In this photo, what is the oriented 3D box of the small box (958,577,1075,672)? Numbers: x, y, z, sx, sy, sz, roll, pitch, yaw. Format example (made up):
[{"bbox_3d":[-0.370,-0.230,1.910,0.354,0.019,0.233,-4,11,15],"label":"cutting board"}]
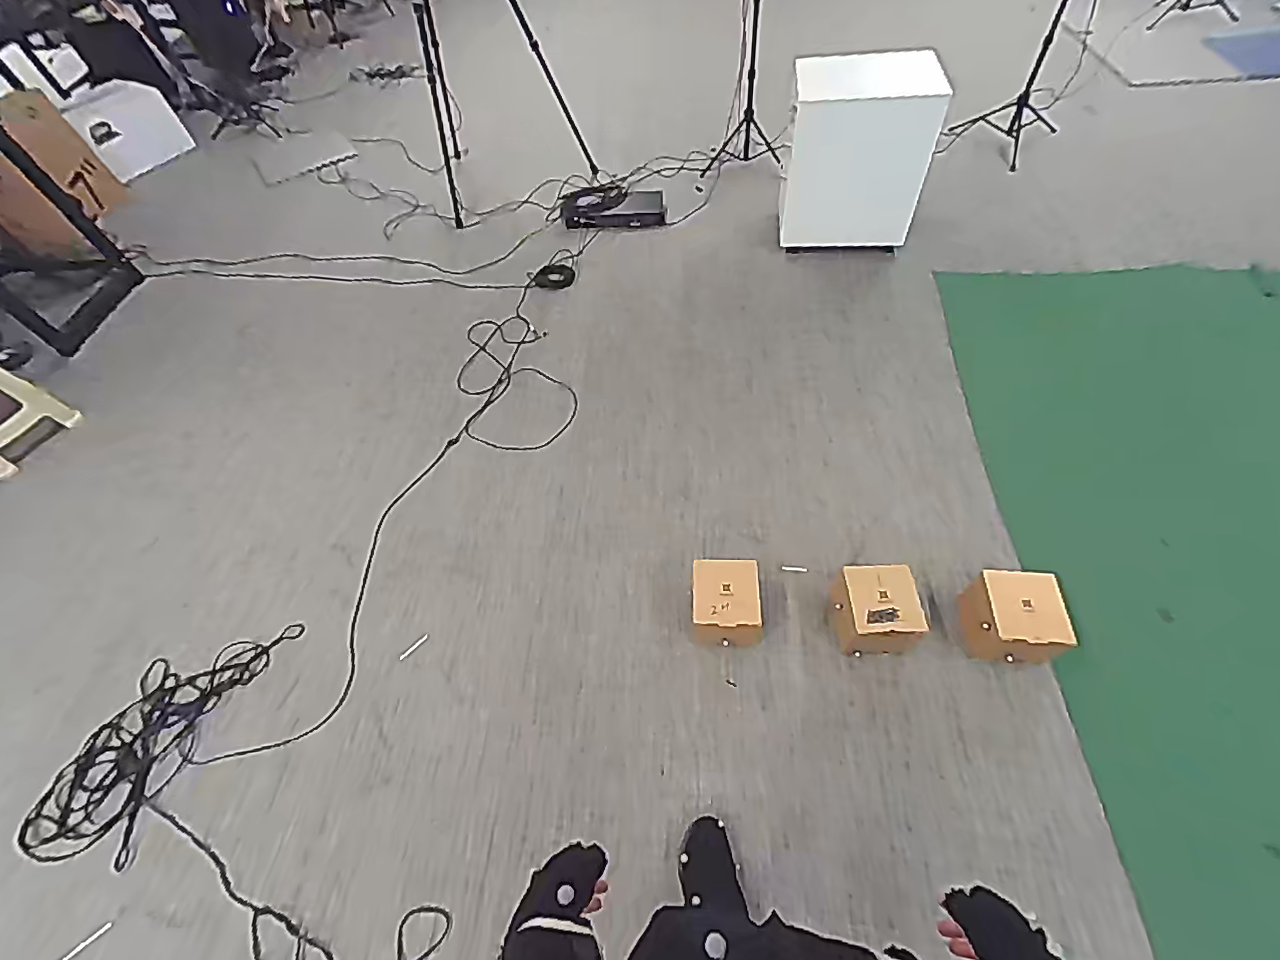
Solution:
[{"bbox_3d":[0.920,0.360,1.344,0.168,0.176,0.179,2,55,8],"label":"small box"}]

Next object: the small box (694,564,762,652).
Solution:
[{"bbox_3d":[0.226,0.338,1.423,0.168,0.176,0.179,0,55,7],"label":"small box"}]

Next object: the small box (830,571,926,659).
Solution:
[{"bbox_3d":[0.598,0.349,1.381,0.168,0.176,0.179,-2,54,4],"label":"small box"}]
